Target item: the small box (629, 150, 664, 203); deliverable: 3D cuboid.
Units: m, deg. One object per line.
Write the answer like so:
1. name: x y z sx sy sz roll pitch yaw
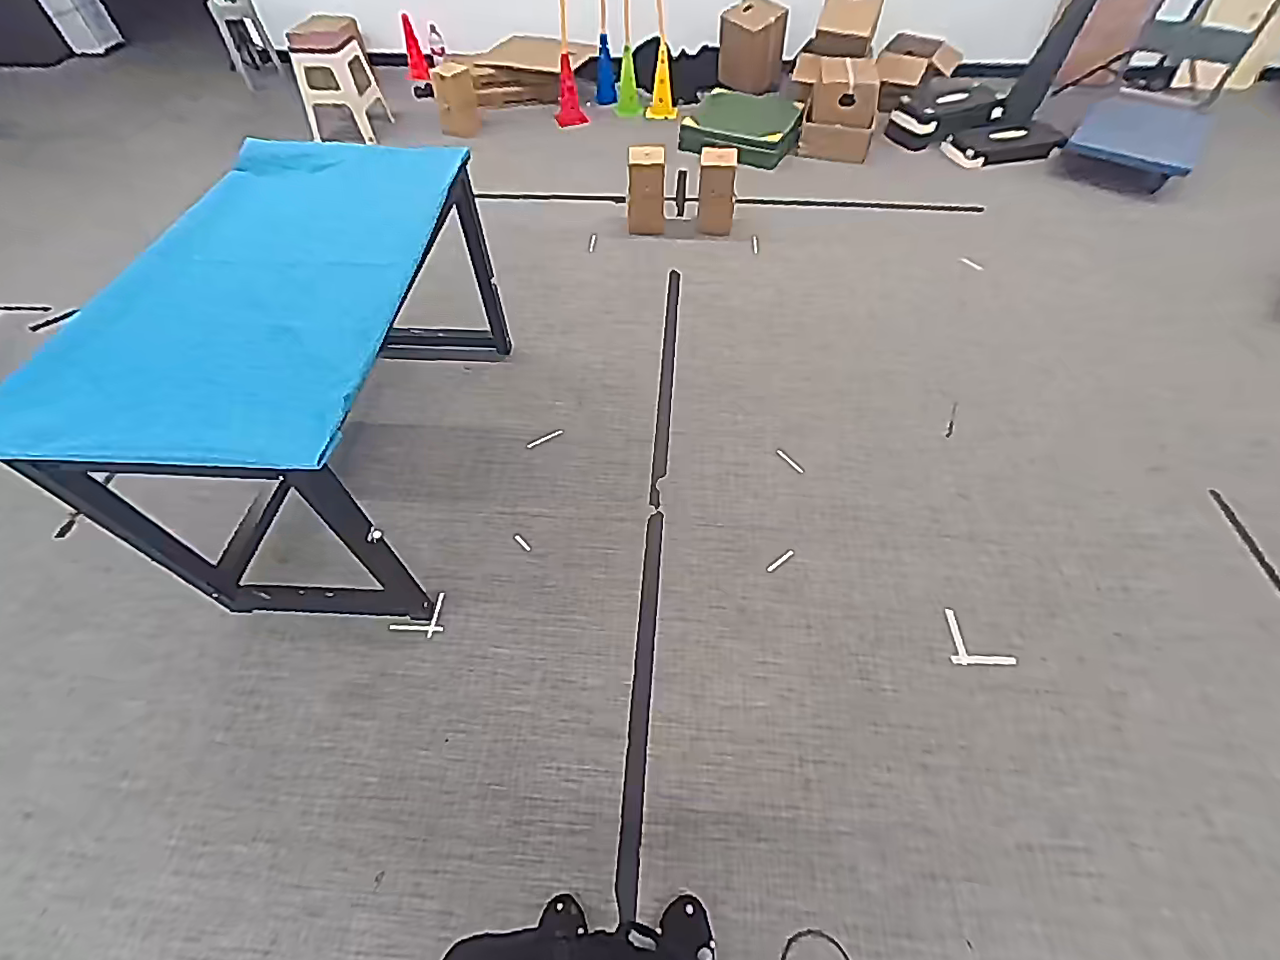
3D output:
1. small box: 0.030 -1.450 2.580 0.168 0.176 0.179 0 54 0

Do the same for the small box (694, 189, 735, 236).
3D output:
1. small box: 0.374 -1.347 2.712 0.179 0.176 0.168 7 54 3

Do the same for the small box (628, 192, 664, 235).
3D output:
1. small box: 0.030 -1.349 2.710 0.179 0.176 0.168 2 54 0

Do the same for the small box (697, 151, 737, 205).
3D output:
1. small box: 0.365 -1.440 2.578 0.168 0.176 0.179 5 55 5
